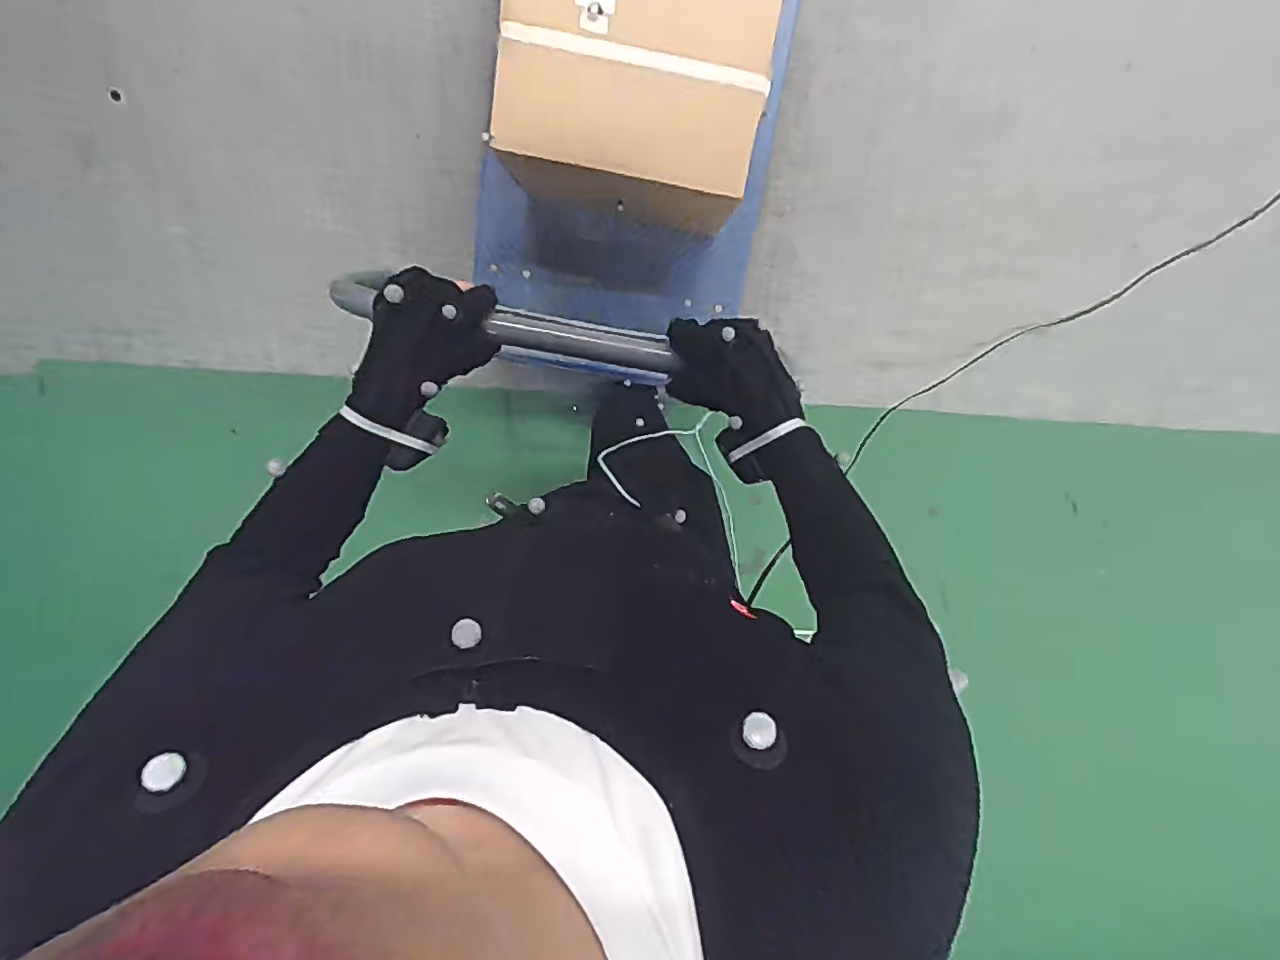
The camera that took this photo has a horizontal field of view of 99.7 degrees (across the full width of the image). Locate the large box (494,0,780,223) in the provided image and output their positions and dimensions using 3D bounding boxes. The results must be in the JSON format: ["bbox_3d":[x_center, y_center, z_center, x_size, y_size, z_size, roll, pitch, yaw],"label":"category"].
[{"bbox_3d":[-0.005,-0.675,0.954,0.408,0.320,0.320,10,103,-2],"label":"large box"}]
